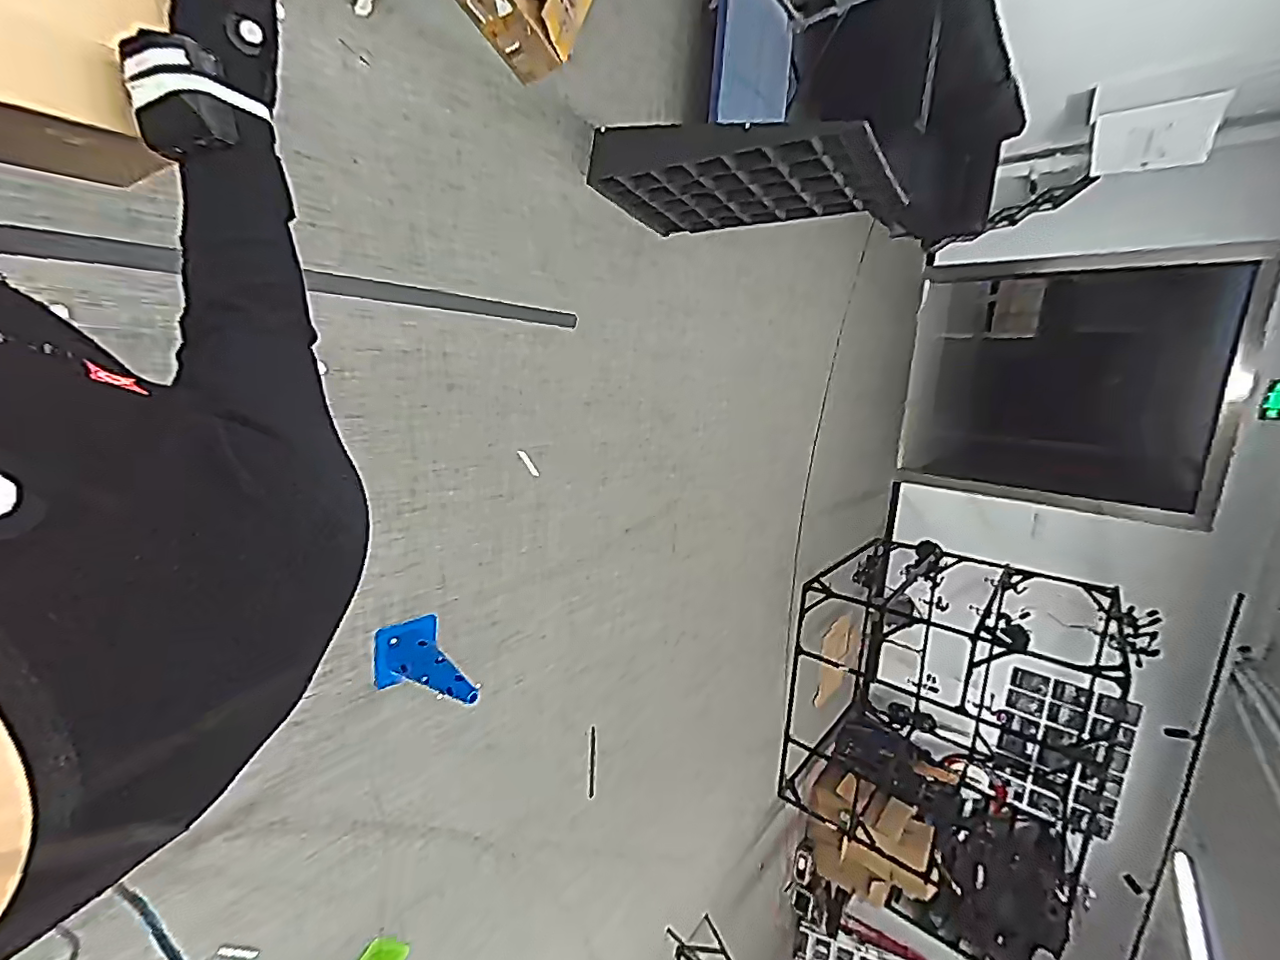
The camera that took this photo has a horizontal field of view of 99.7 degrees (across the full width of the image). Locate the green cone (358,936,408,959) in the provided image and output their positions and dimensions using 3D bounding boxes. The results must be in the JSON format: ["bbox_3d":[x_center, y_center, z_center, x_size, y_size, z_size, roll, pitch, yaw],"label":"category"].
[{"bbox_3d":[-0.758,1.667,1.693,0.202,0.368,0.200,-53,137,-31],"label":"green cone"}]

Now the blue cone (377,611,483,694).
[{"bbox_3d":[-0.604,0.550,1.604,0.192,0.380,0.193,-6,104,-52],"label":"blue cone"}]

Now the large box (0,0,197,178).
[{"bbox_3d":[-0.574,-0.418,0.324,0.408,0.320,0.320,-11,113,-50],"label":"large box"}]
